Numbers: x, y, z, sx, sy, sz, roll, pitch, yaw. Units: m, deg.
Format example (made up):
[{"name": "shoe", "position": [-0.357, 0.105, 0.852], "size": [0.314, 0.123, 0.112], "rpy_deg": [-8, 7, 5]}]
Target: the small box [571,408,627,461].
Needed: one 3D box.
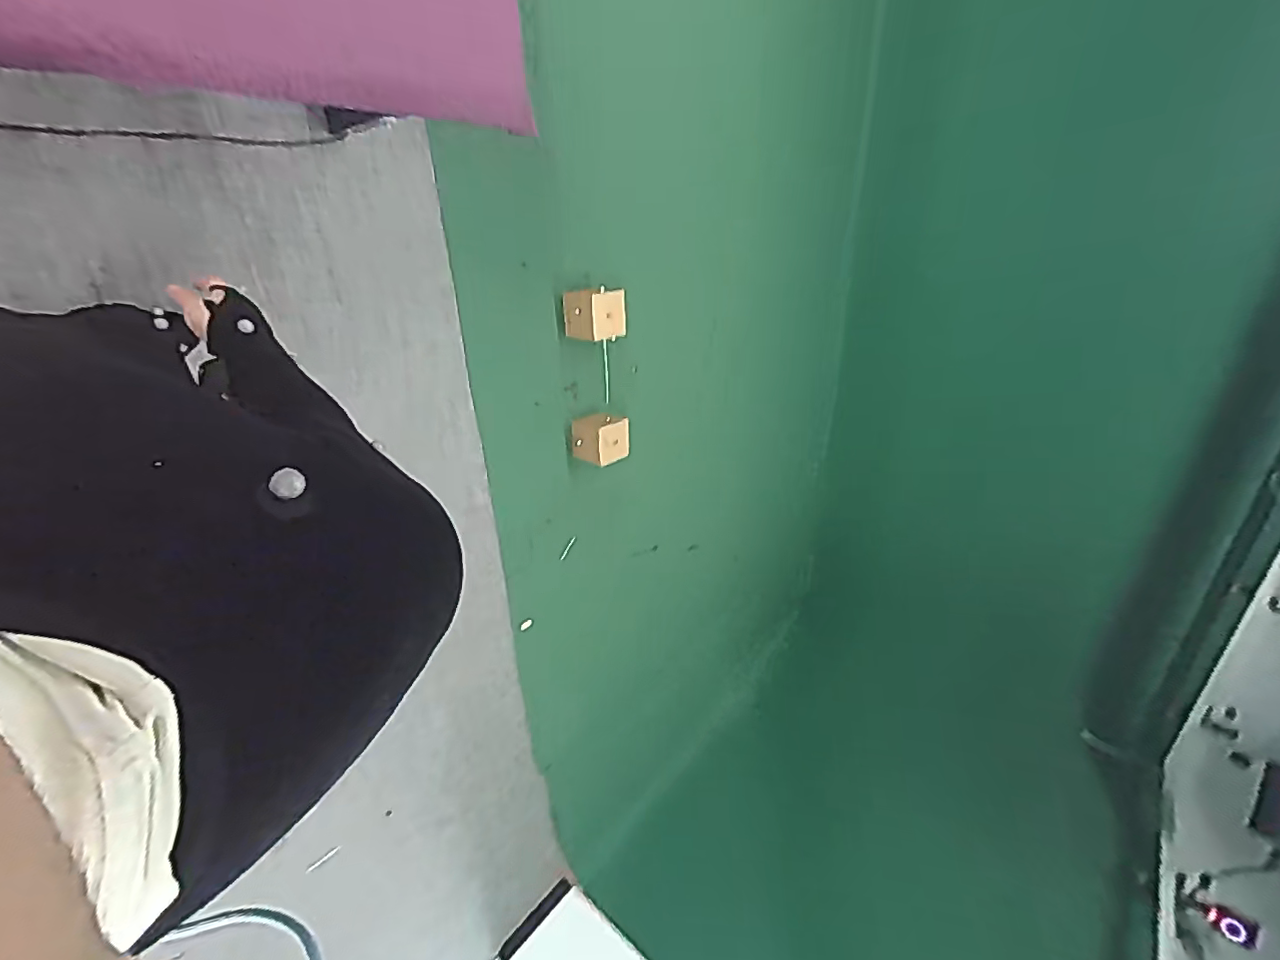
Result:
[{"name": "small box", "position": [-0.172, -0.197, 2.286], "size": [0.179, 0.176, 0.168], "rpy_deg": [-26, 124, -43]}]

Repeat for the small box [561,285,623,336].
[{"name": "small box", "position": [-0.188, -0.656, 2.080], "size": [0.179, 0.176, 0.168], "rpy_deg": [-28, 125, -43]}]
